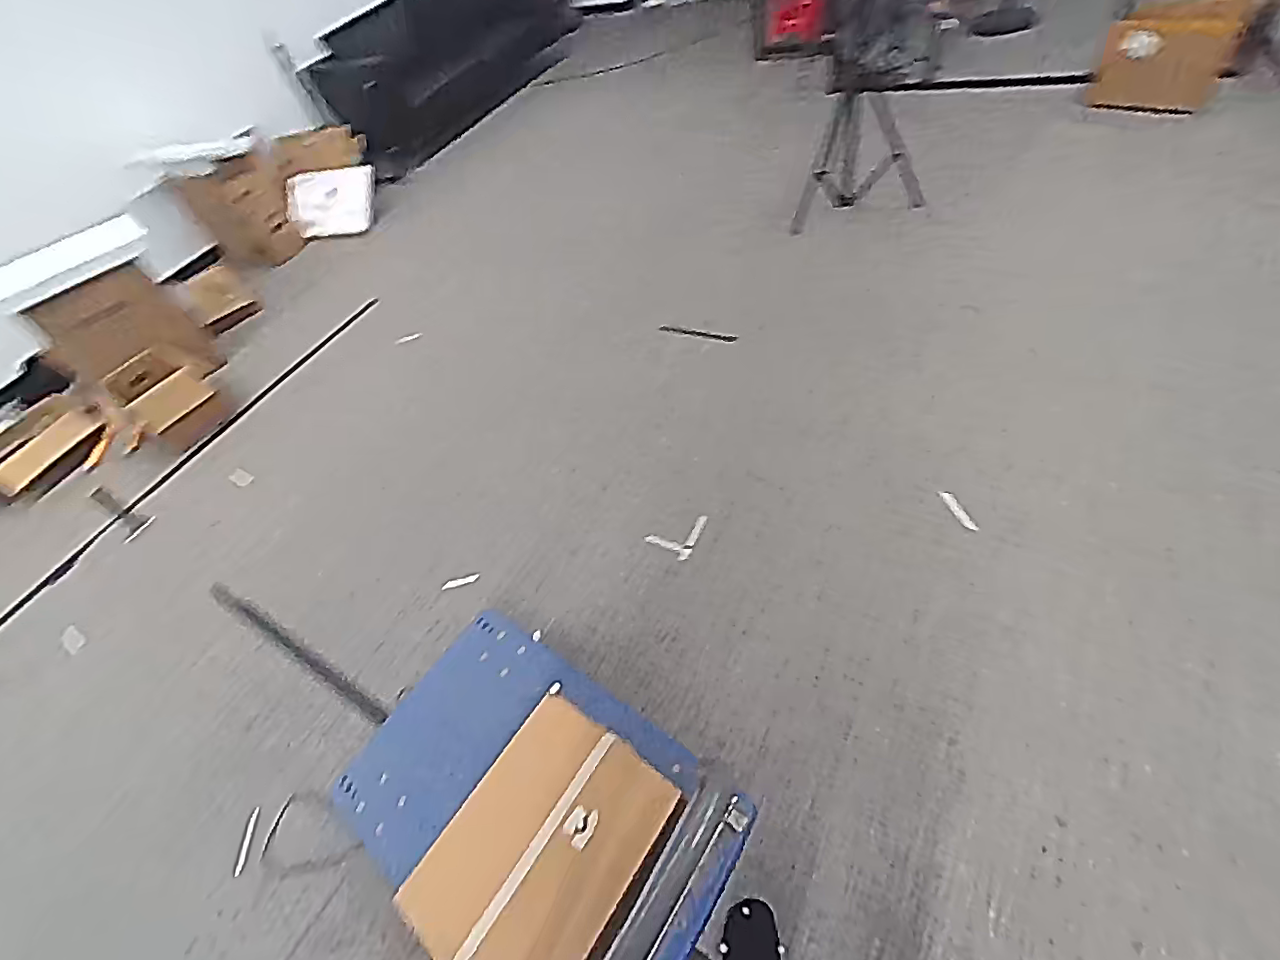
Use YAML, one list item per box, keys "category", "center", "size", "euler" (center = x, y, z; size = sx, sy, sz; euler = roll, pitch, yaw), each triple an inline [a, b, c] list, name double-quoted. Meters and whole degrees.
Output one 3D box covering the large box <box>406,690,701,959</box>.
- category: "large box"
  center: [-0.131, 0.695, 1.017]
  size: [0.320, 0.320, 0.408]
  euler: [26, 62, 29]
